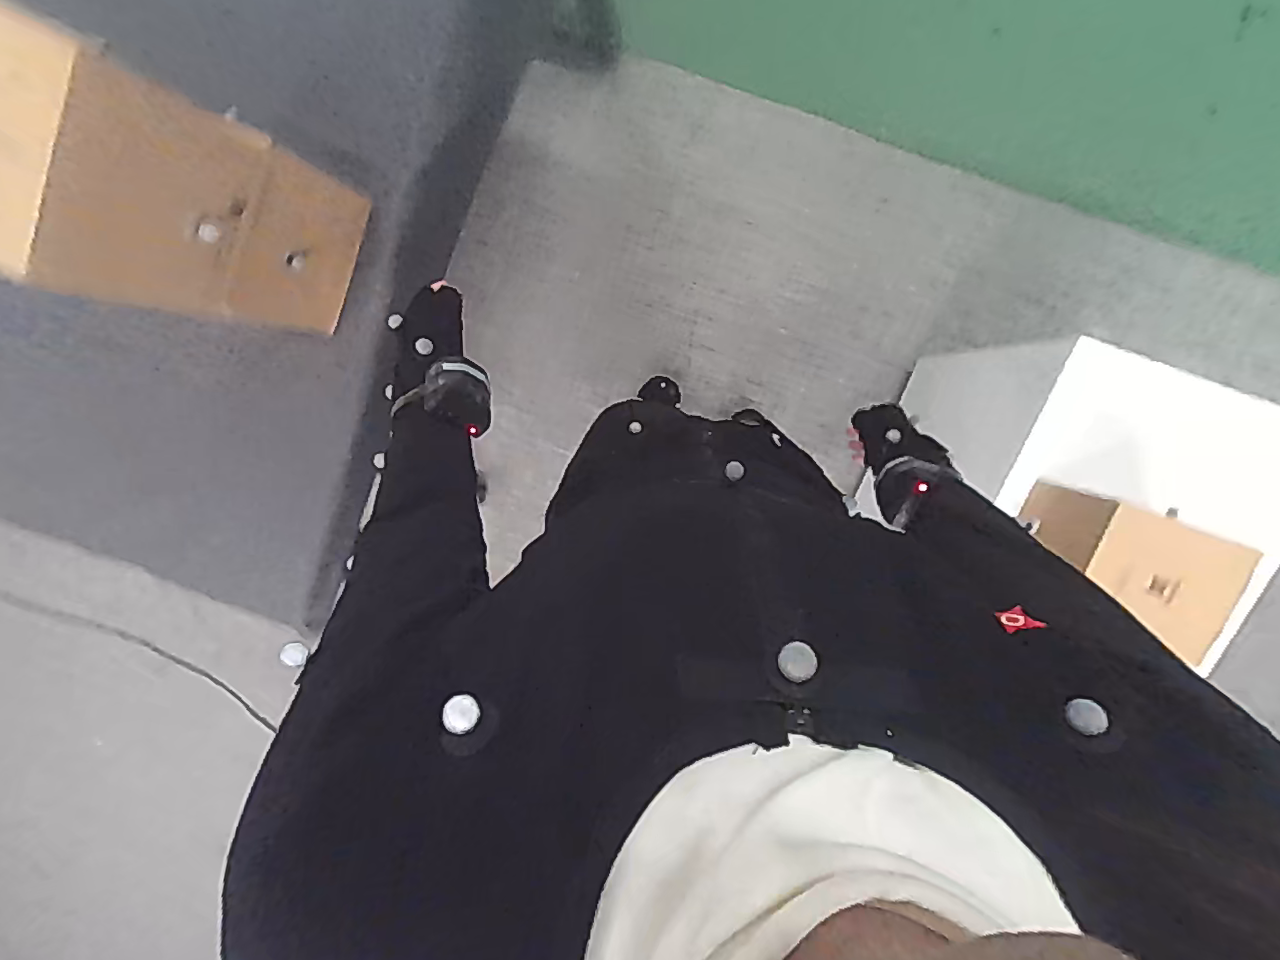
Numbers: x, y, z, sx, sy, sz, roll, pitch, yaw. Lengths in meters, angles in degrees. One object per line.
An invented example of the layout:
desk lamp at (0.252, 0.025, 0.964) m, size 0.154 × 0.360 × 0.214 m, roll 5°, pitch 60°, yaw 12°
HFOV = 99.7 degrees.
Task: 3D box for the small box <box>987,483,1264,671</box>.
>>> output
small box at (0.612, 0.113, 0.712) m, size 0.179 × 0.176 × 0.168 m, roll 19°, pitch 101°, yaw 3°

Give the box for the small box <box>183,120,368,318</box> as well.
small box at (-0.443, -0.298, 0.610) m, size 0.168 × 0.176 × 0.179 m, roll 24°, pitch 102°, yaw 3°
